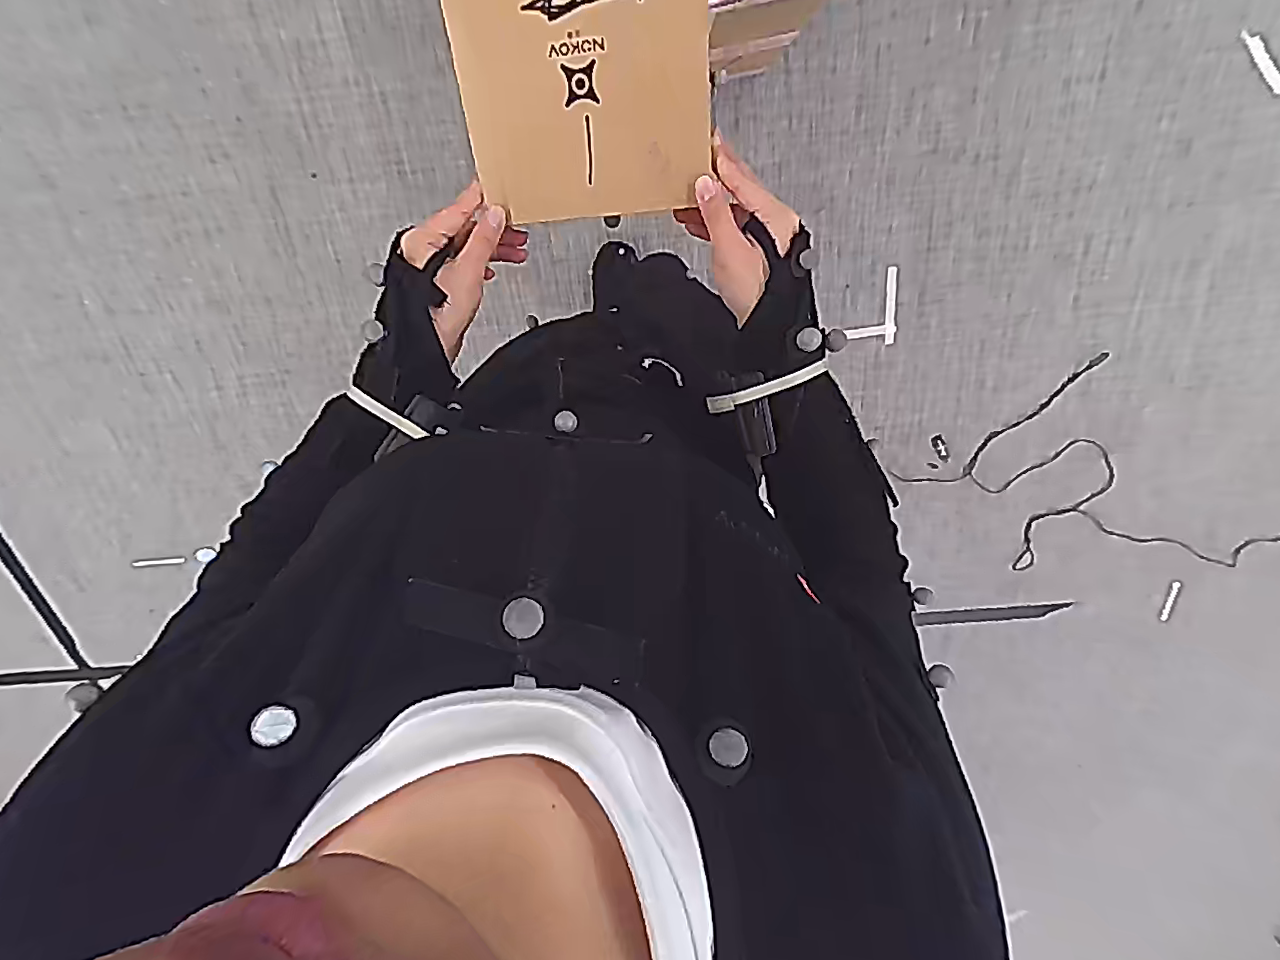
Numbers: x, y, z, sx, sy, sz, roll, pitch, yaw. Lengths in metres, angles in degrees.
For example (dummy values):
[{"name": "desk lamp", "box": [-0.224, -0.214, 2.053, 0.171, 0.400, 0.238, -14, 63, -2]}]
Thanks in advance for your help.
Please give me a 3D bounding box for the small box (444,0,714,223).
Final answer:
[{"name": "small box", "box": [-0.031, -0.305, 0.412, 0.168, 0.176, 0.179, -2, 121, 7]}]
